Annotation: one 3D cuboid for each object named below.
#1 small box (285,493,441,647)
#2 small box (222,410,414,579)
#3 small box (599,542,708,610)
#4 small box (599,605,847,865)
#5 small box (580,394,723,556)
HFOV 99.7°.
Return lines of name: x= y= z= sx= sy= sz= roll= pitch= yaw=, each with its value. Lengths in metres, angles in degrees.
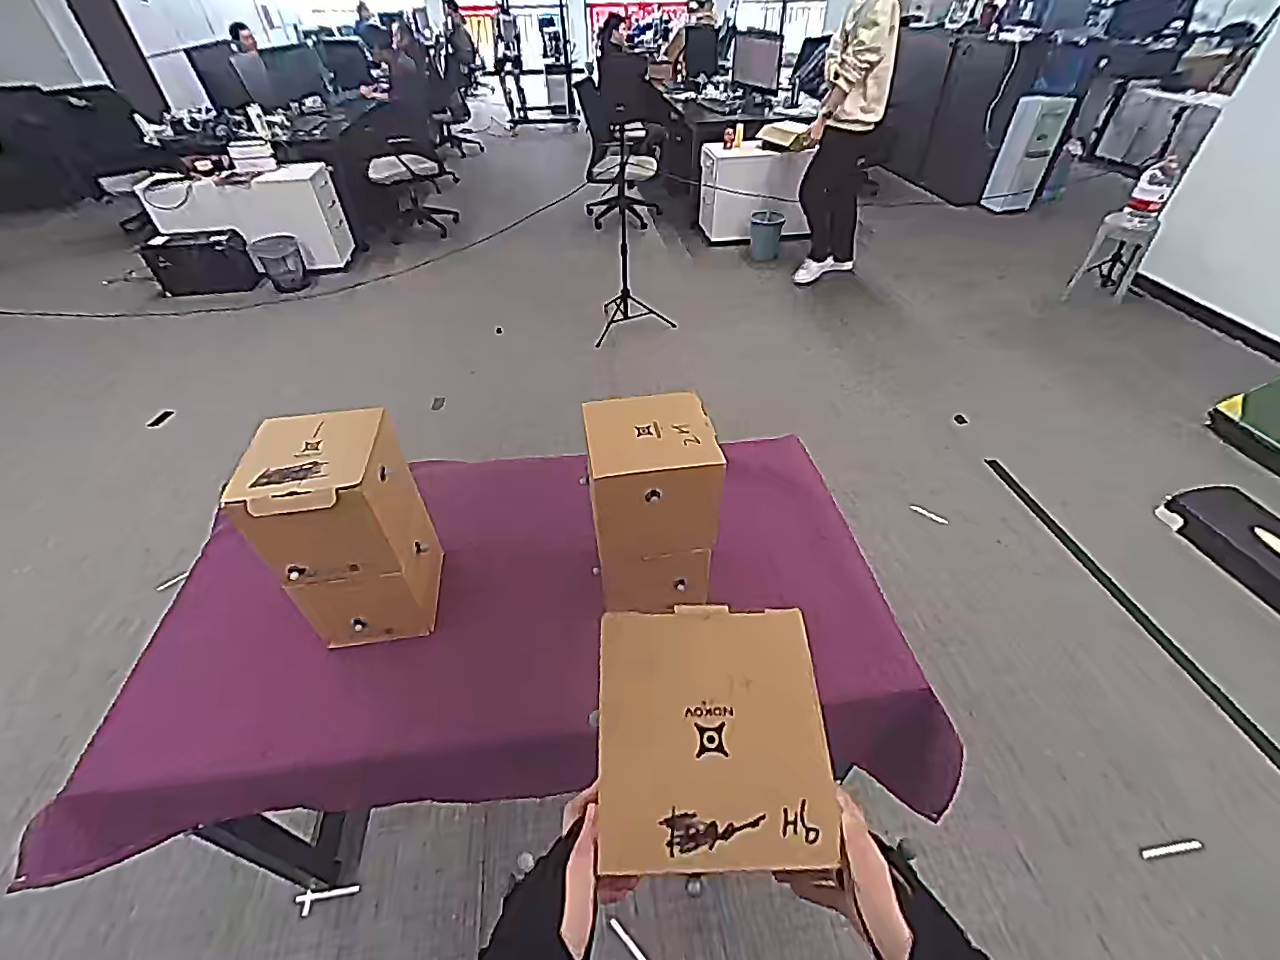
small box: x=-0.434 y=0.145 z=0.884 sx=0.168 sy=0.176 sz=0.179 roll=-7 pitch=44 yaw=-6
small box: x=-0.437 y=0.025 z=0.772 sx=0.168 sy=0.176 sz=0.179 roll=-7 pitch=43 yaw=-7
small box: x=0.014 y=0.113 z=0.907 sx=0.168 sy=0.176 sz=0.179 roll=-6 pitch=43 yaw=-6
small box: x=0.053 y=0.220 z=0.464 sx=0.168 sy=0.176 sz=0.179 roll=-1 pitch=58 yaw=-1
small box: x=0.012 y=-0.004 z=0.793 sx=0.179 sy=0.176 sz=0.168 roll=-7 pitch=44 yaw=-7
